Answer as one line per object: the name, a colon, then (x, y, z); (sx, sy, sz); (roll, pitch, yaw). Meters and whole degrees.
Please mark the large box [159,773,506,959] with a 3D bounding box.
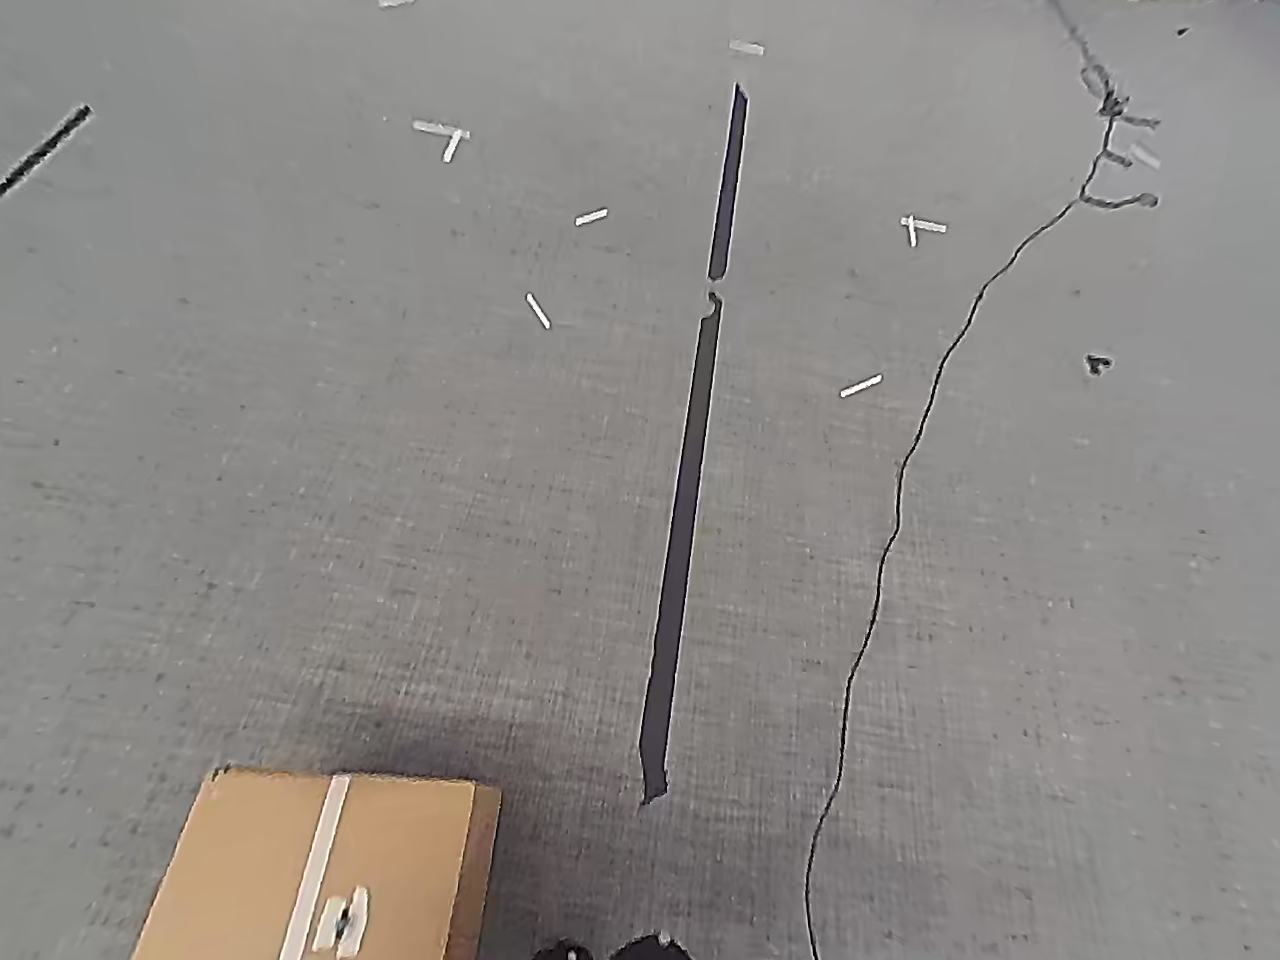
large box: (-0.370, 0.616, 0.692); (0.320, 0.320, 0.408); (5, 58, -4)
